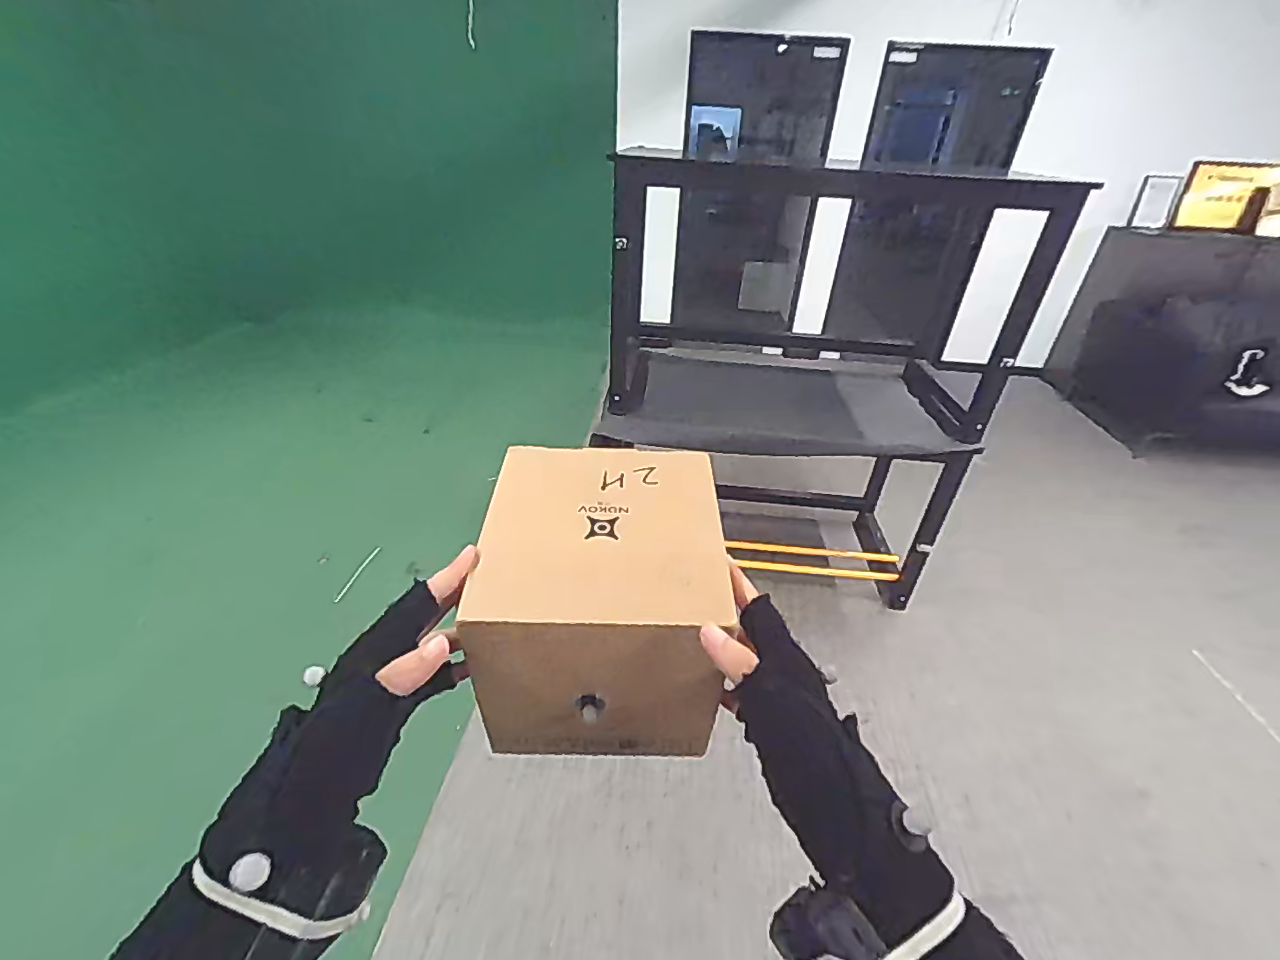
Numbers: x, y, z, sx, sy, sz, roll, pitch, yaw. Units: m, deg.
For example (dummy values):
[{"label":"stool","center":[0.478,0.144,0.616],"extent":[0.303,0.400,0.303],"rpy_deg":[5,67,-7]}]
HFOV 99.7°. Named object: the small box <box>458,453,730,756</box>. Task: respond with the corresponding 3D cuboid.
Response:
[{"label":"small box","center":[-0.028,0.097,0.431],"extent":[0.168,0.176,0.179],"rpy_deg":[2,38,-2]}]
